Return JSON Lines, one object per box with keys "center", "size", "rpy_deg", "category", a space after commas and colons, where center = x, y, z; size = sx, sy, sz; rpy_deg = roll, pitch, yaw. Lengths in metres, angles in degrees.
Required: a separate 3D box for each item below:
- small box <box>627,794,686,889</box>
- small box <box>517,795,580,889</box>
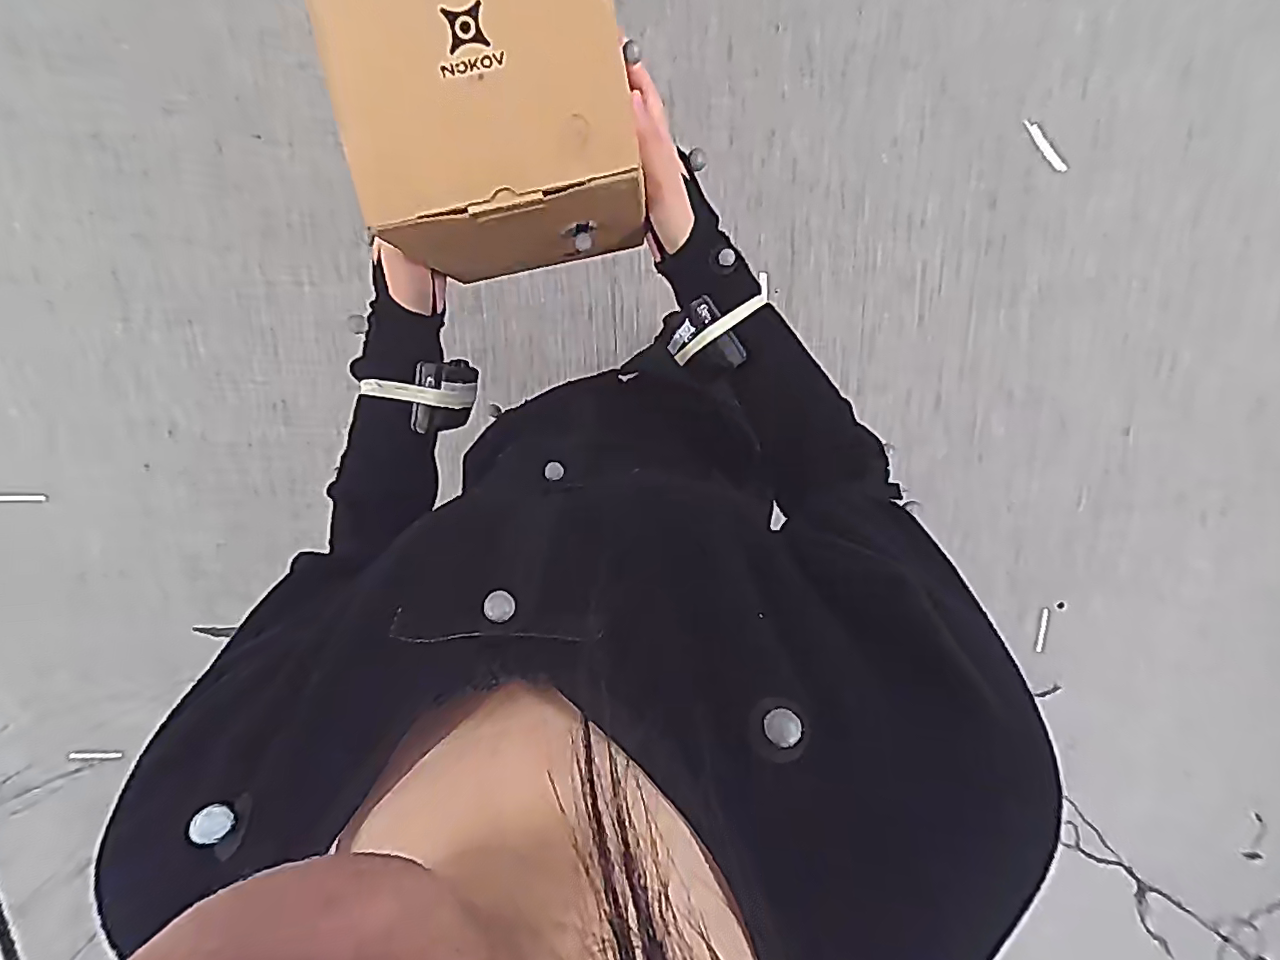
{"center": [0.046, 1.096, 1.645], "size": [0.168, 0.176, 0.179], "rpy_deg": [2, 103, -2], "category": "small box"}
{"center": [-0.271, 1.090, 1.634], "size": [0.168, 0.176, 0.179], "rpy_deg": [-1, 101, -2], "category": "small box"}
